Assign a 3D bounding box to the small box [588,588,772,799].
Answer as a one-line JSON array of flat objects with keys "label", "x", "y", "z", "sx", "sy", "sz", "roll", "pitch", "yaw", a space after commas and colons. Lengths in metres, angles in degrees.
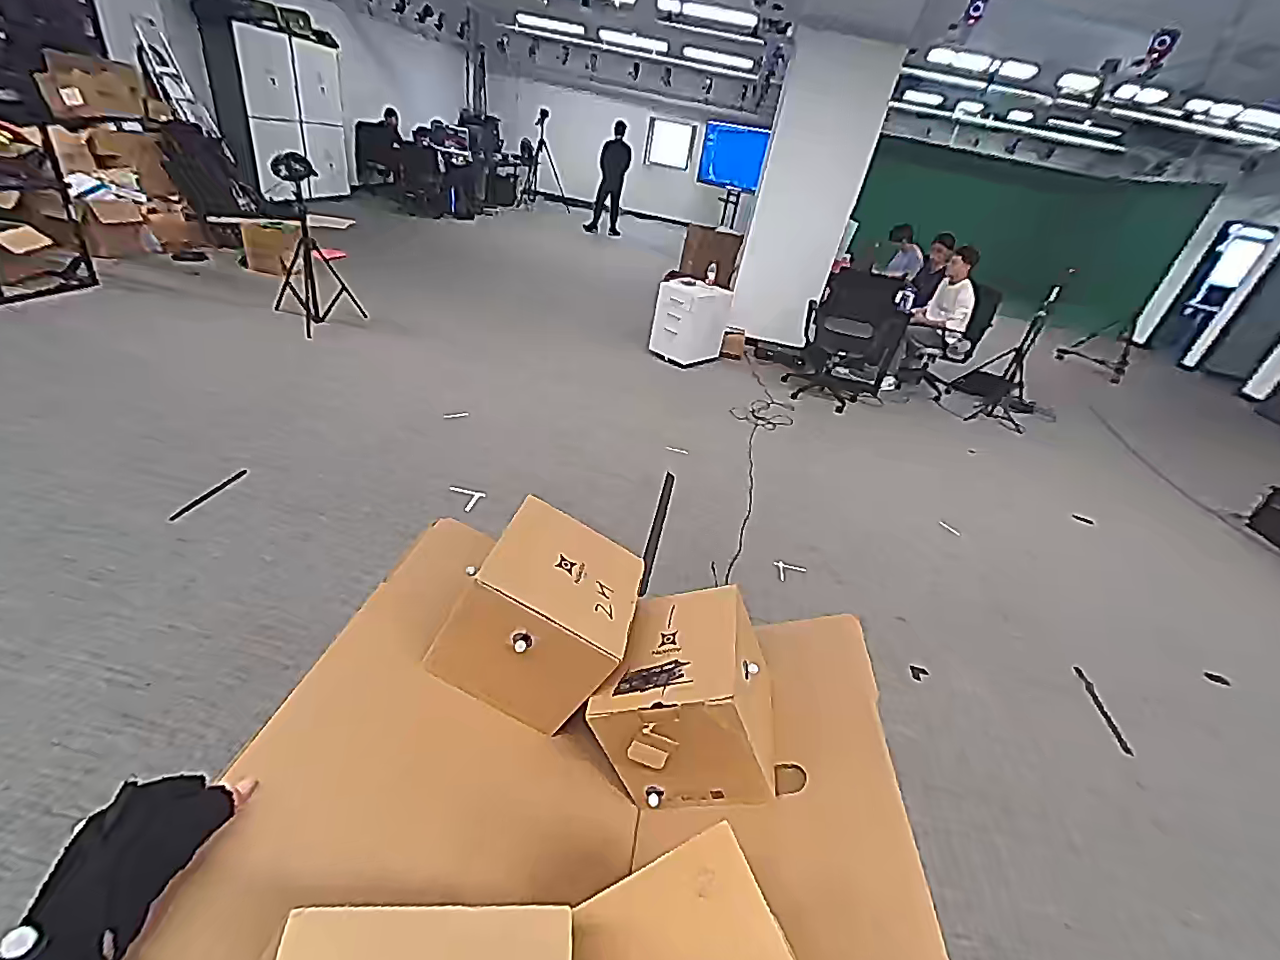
[{"label": "small box", "x": 0.061, "y": 0.262, "z": 0.659, "sx": 0.168, "sy": 0.176, "sz": 0.179, "roll": -14, "pitch": 24, "yaw": 18}]
